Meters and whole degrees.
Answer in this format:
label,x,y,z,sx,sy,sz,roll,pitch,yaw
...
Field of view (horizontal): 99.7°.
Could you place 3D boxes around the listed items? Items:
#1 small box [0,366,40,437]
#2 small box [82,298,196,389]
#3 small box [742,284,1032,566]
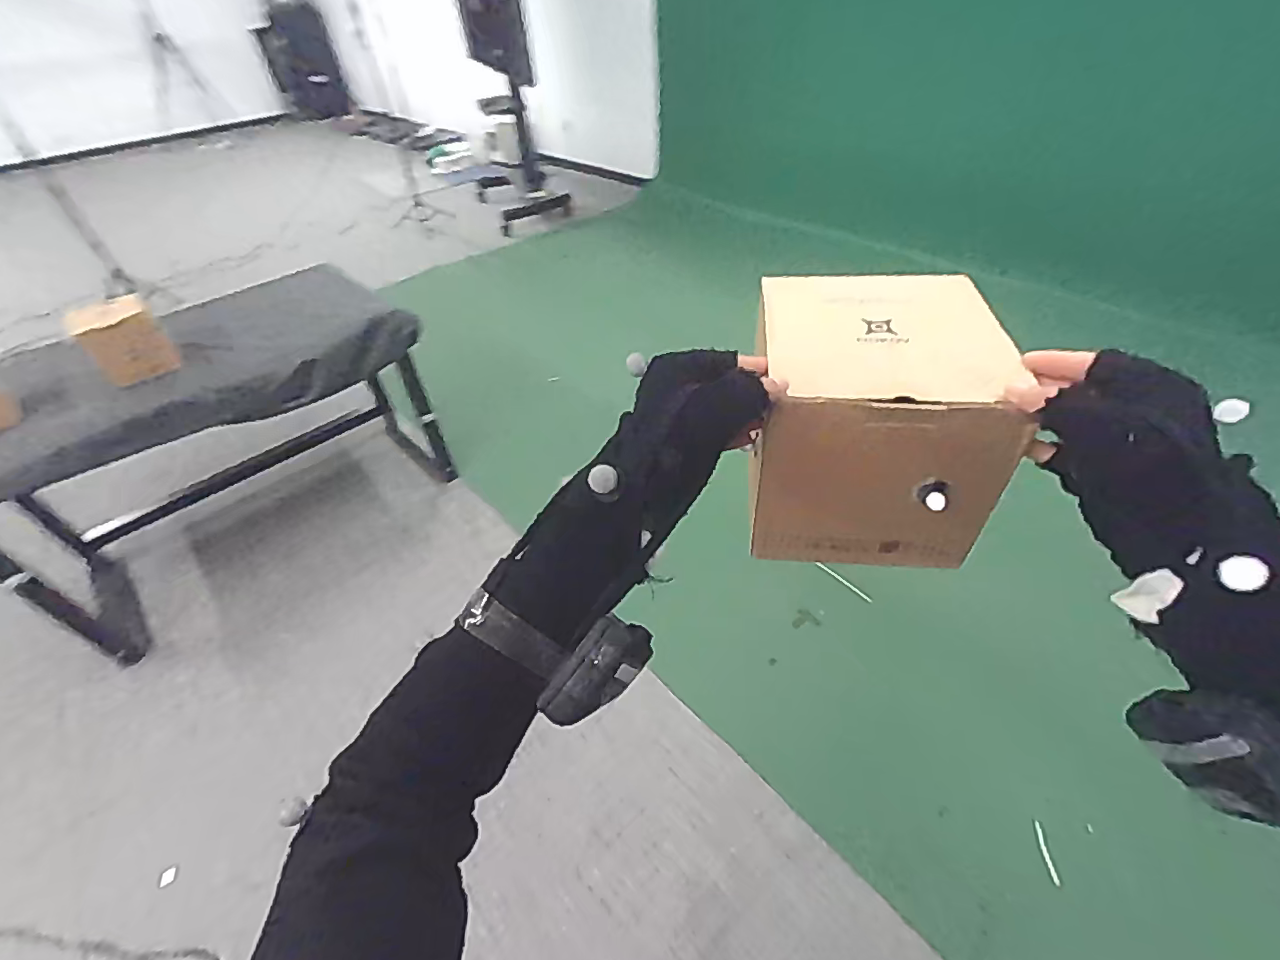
label,x,y,z,sx,sy,sz,roll,pitch,yaw
small box,-1.659,-0.196,1.333,0.168,0.176,0.179,32,53,32
small box,-1.383,-0.375,1.501,0.168,0.176,0.179,-33,51,-27
small box,0.174,-0.045,0.452,0.168,0.176,0.179,1,43,7
